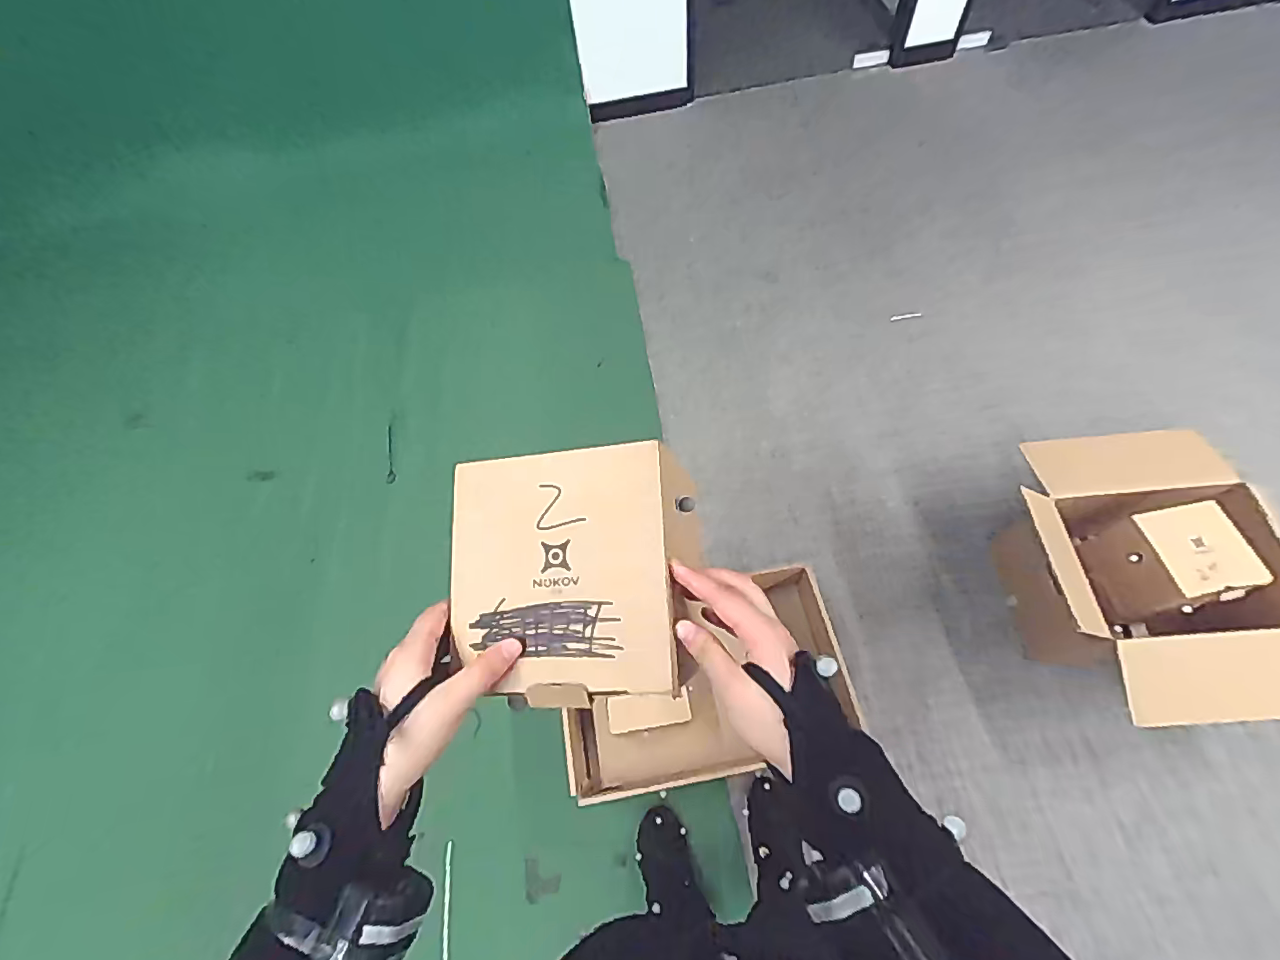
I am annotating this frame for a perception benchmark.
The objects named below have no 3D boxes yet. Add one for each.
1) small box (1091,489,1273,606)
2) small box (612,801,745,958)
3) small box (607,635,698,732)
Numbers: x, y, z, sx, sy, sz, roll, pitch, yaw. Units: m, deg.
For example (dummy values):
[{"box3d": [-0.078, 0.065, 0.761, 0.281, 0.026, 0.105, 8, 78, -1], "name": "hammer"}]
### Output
[{"box3d": [1.101, 0.144, 1.122, 0.168, 0.176, 0.179, -13, 62, 3], "name": "small box"}, {"box3d": [0.083, 0.788, 1.085, 0.176, 0.168, 0.179, 50, 50, -4], "name": "small box"}, {"box3d": [0.031, 0.466, 1.225, 0.179, 0.176, 0.168, -11, 61, 0], "name": "small box"}]
